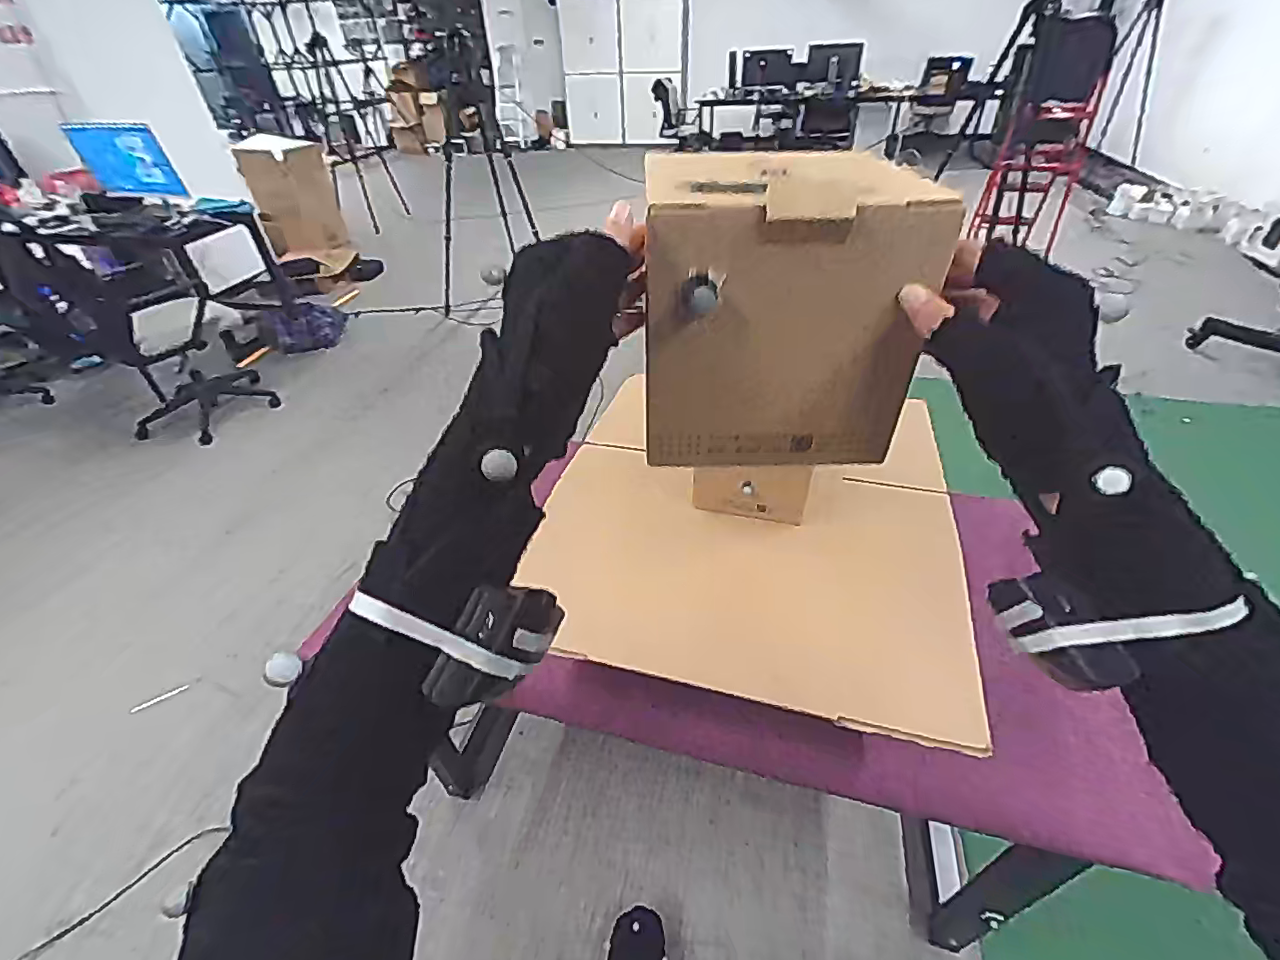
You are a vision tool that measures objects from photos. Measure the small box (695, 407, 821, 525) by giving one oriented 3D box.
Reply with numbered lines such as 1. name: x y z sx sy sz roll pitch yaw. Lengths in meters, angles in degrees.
1. small box: 0.181 -0.059 0.828 0.168 0.176 0.179 9 39 14
